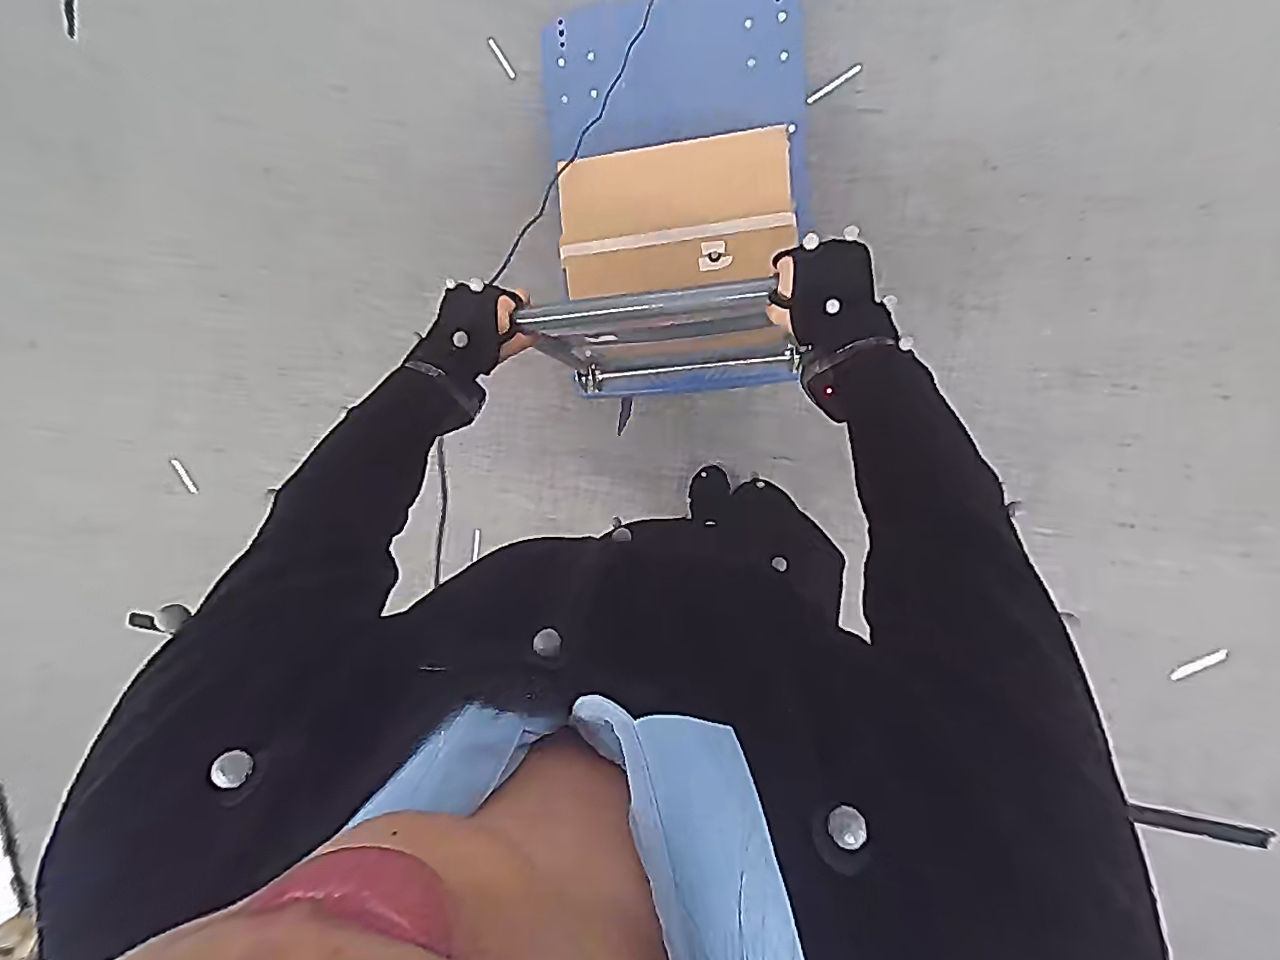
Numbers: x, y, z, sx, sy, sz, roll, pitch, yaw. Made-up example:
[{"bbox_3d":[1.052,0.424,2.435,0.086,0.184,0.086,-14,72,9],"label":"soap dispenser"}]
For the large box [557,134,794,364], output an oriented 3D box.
[{"bbox_3d":[0.078,-0.429,1.097,0.408,0.320,0.320,-4,95,9],"label":"large box"}]
